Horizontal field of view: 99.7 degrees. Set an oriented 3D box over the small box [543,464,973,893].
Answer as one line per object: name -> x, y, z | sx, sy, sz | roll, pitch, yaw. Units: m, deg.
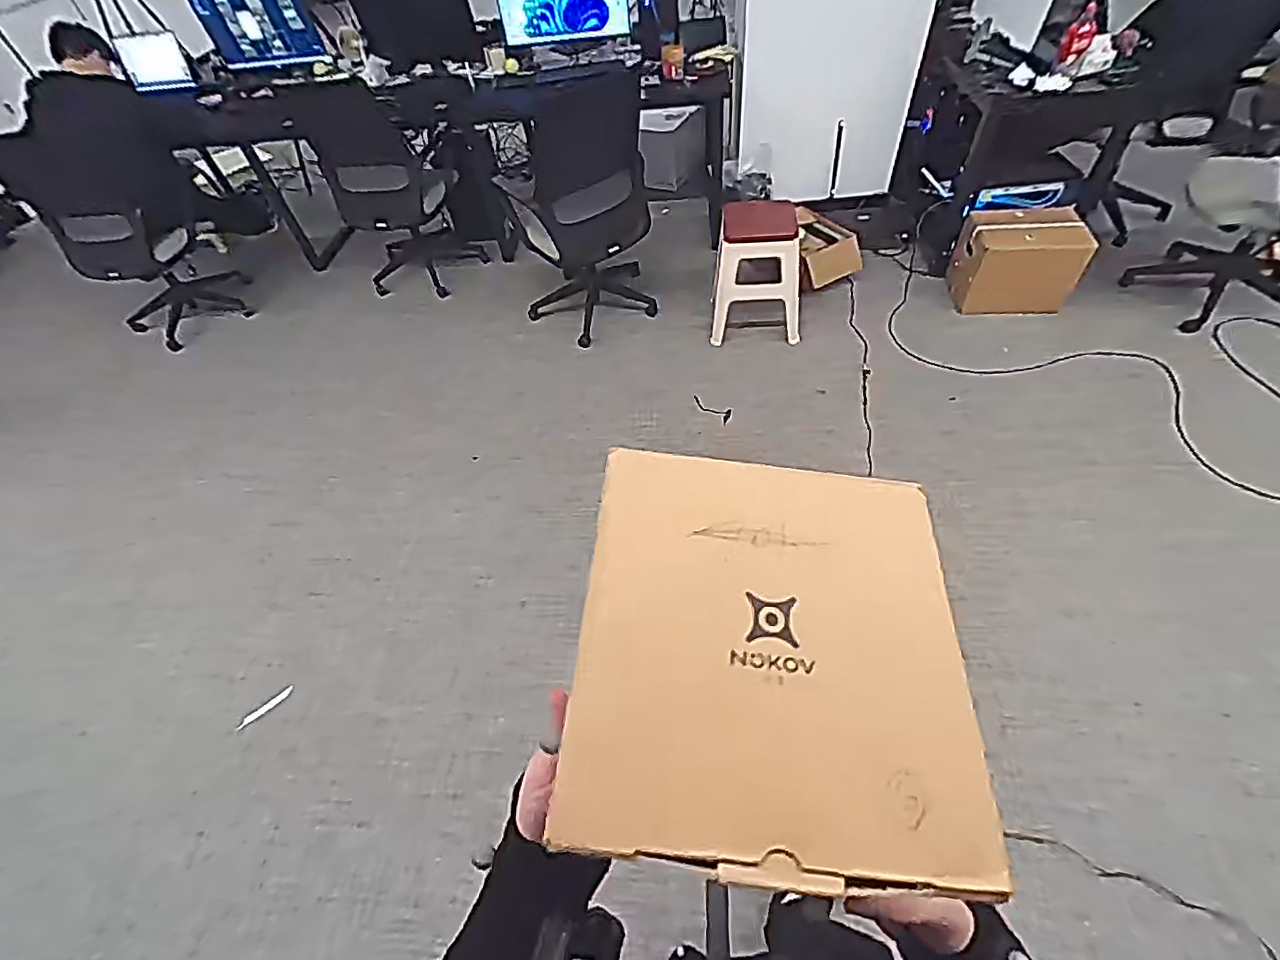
small box -> 0.047, 0.116, 0.313 | 0.168, 0.176, 0.179 | 7, 56, -1
